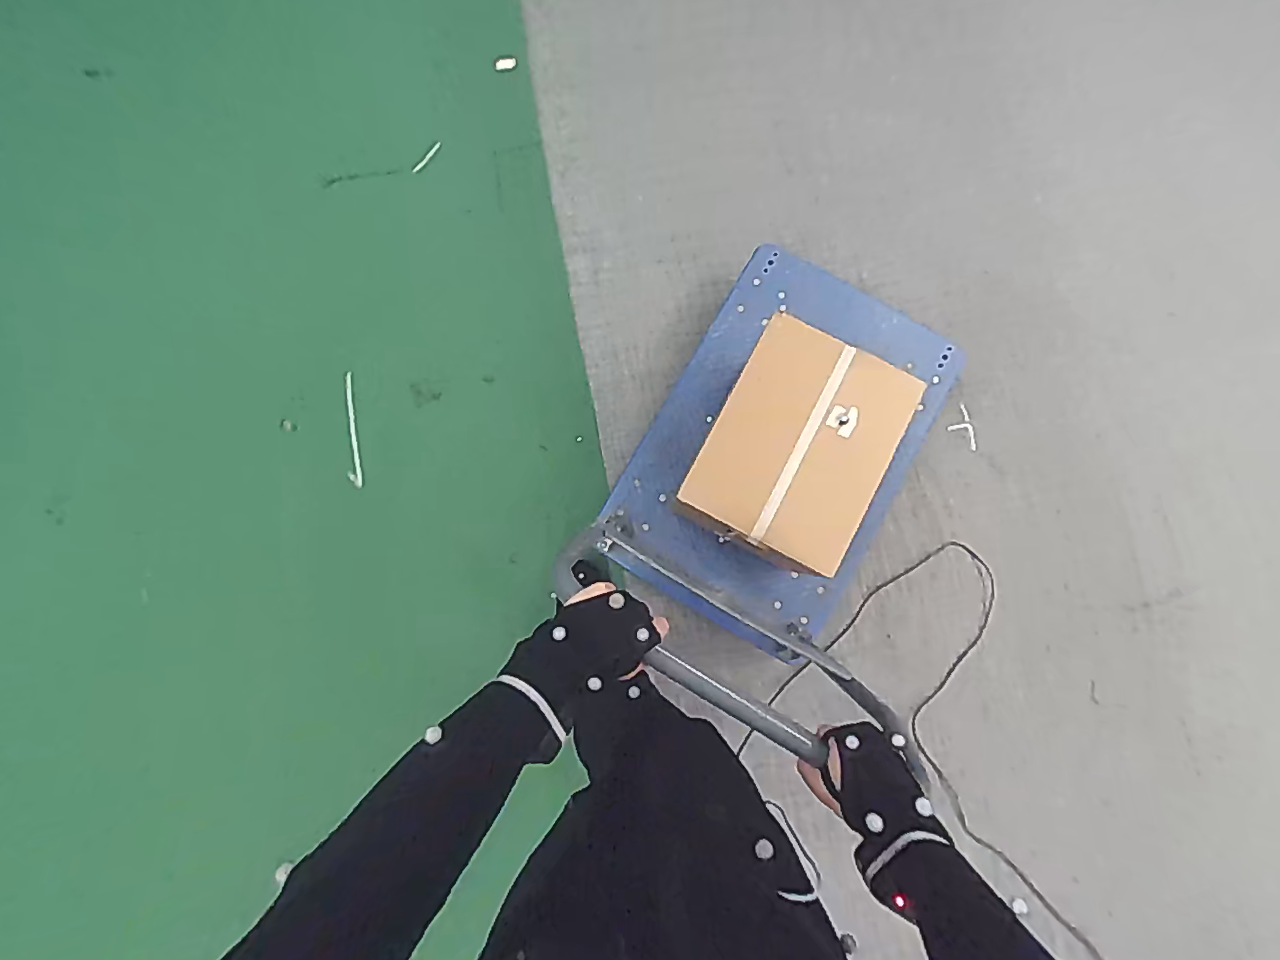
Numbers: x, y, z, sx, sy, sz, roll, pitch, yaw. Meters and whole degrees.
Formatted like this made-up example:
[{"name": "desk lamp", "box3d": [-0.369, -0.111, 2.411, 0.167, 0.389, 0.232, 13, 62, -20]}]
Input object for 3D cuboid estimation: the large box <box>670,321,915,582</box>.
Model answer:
[{"name": "large box", "box3d": [0.287, -0.039, 1.135, 0.320, 0.320, 0.408, 28, 84, 3]}]
